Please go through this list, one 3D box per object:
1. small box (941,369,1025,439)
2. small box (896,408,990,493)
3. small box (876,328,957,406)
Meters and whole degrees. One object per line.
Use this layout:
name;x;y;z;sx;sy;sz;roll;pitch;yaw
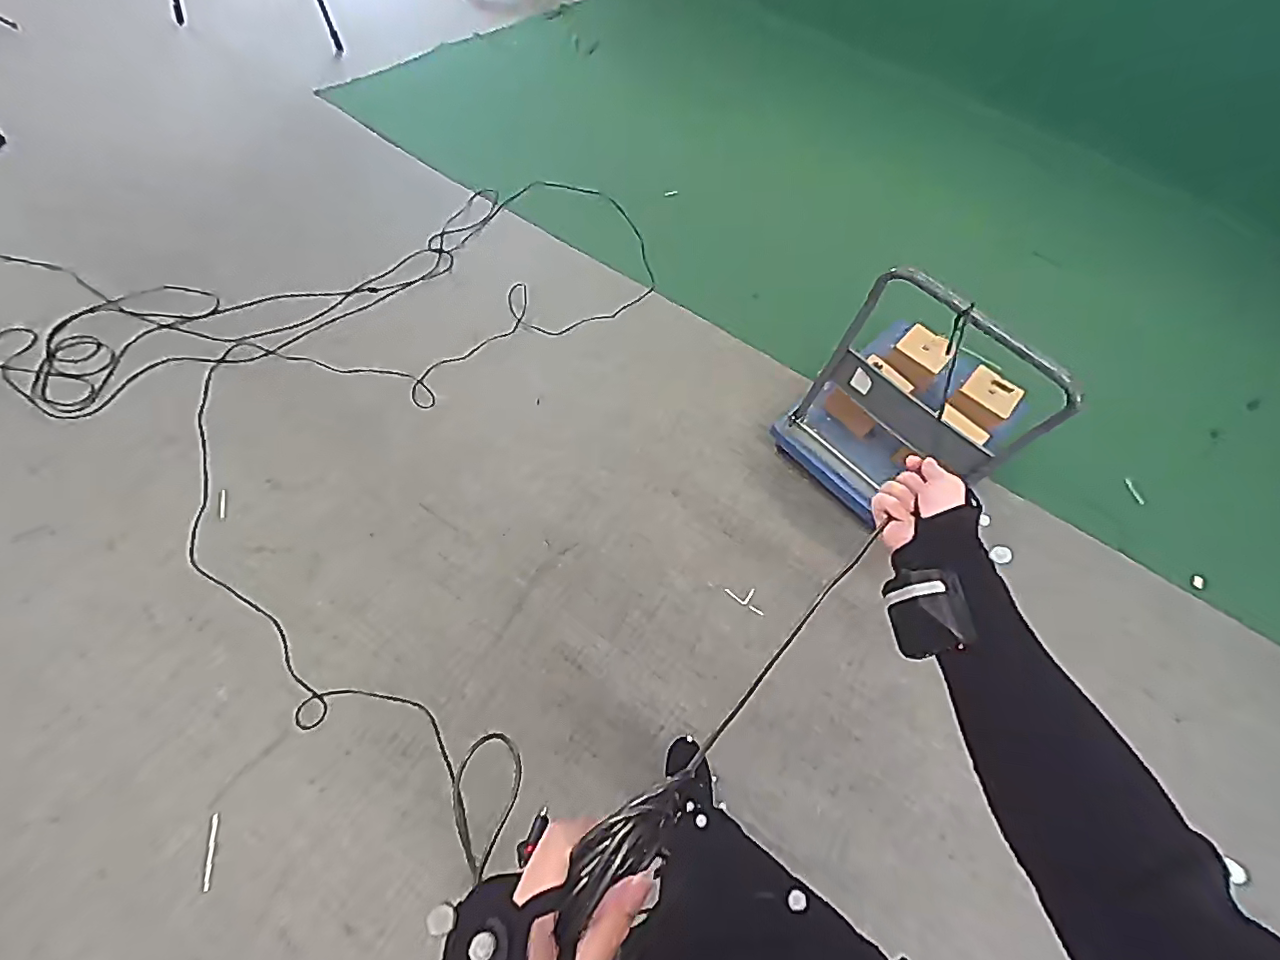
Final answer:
small box;1.156;-0.238;1.849;0.168;0.176;0.179;40;62;17
small box;0.961;-0.091;1.731;0.179;0.176;0.168;-36;70;-25
small box;0.972;-0.395;1.918;0.168;0.176;0.179;41;62;15
